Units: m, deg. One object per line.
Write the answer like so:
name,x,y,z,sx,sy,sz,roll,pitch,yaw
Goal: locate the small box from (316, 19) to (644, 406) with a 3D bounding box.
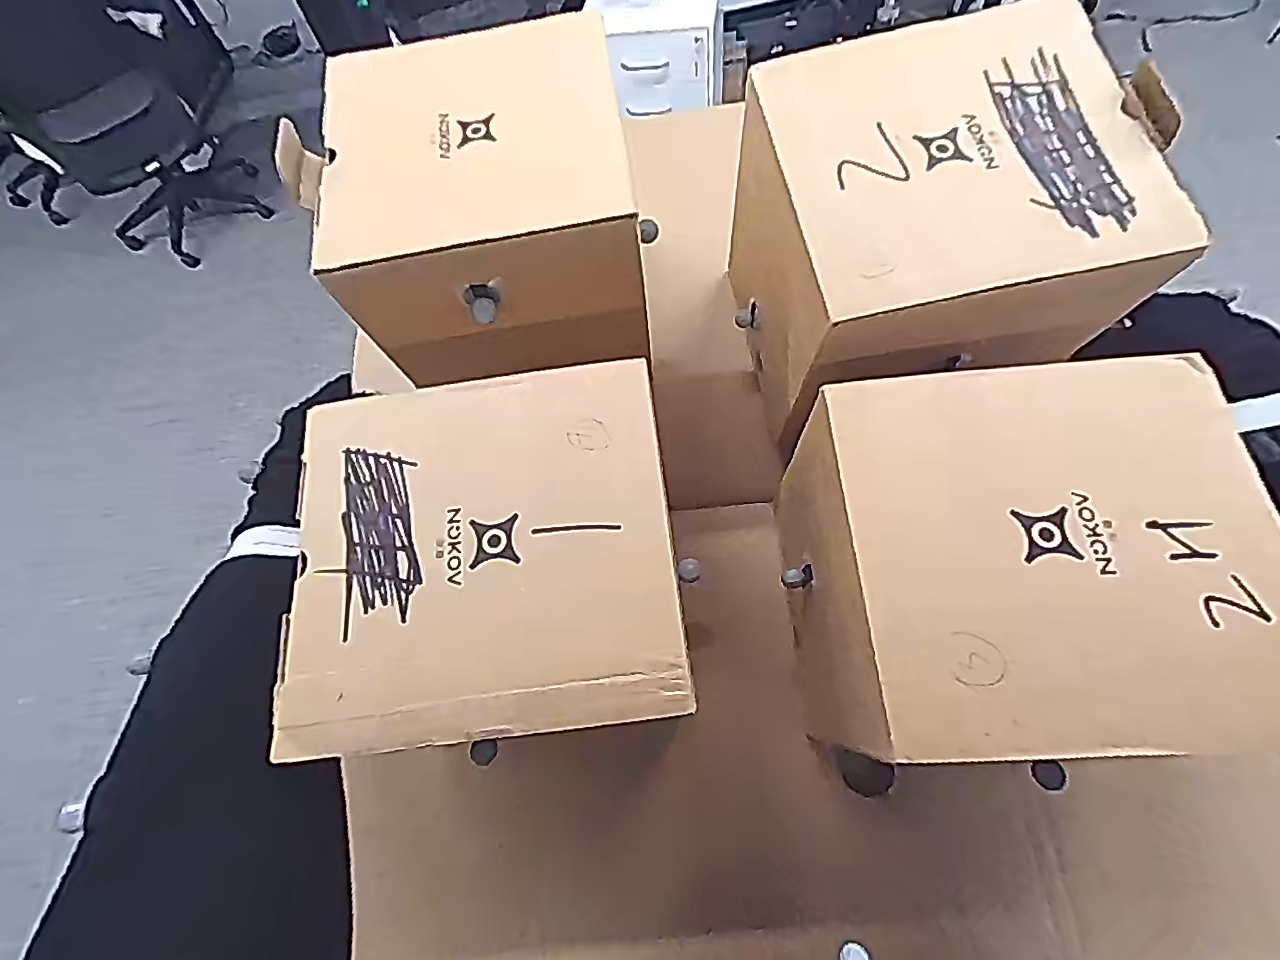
small box,-0.094,-0.172,0.390,0.179,0.176,0.168,-10,70,3
